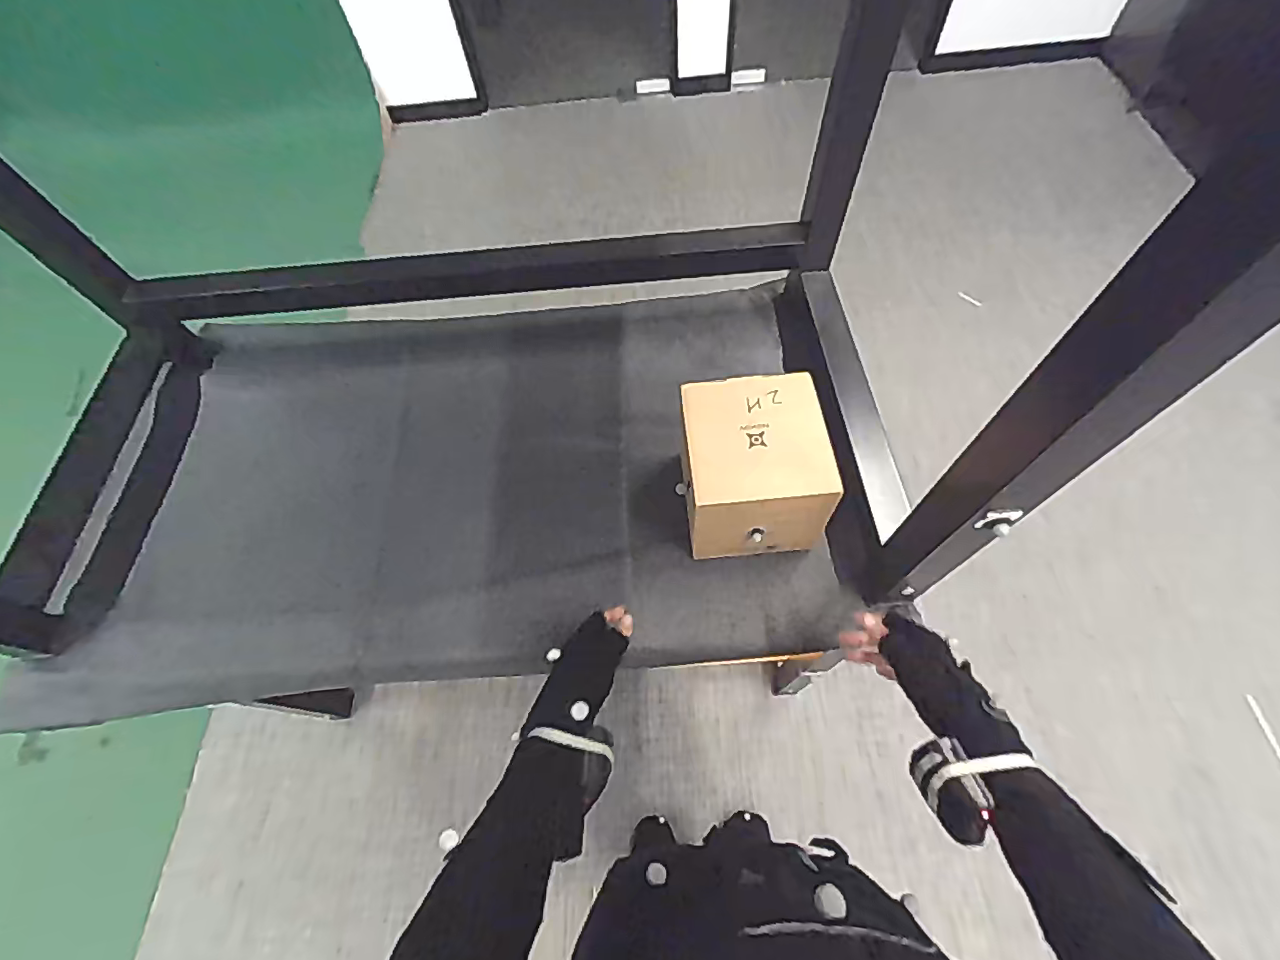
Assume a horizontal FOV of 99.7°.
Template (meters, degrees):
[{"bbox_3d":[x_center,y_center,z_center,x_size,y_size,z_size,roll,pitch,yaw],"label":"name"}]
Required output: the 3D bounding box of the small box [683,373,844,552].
[{"bbox_3d":[0.148,-0.013,0.709,0.168,0.176,0.179,-6,61,1],"label":"small box"}]
